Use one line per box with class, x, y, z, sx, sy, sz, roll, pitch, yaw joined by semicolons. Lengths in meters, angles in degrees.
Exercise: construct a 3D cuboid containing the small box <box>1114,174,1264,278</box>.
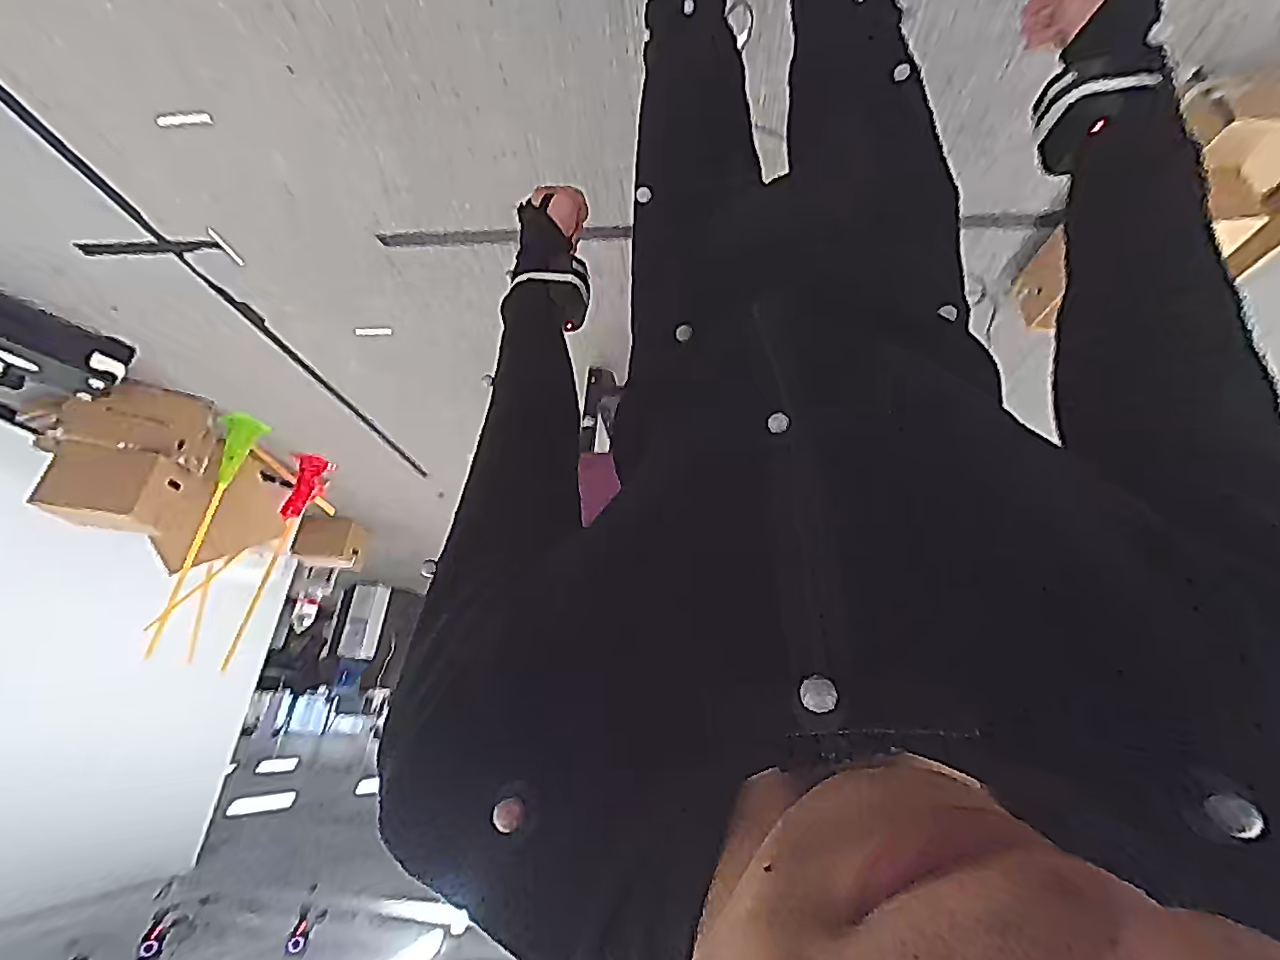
small box;1.313;-0.615;1.313;0.179;0.176;0.168;1;156;6
